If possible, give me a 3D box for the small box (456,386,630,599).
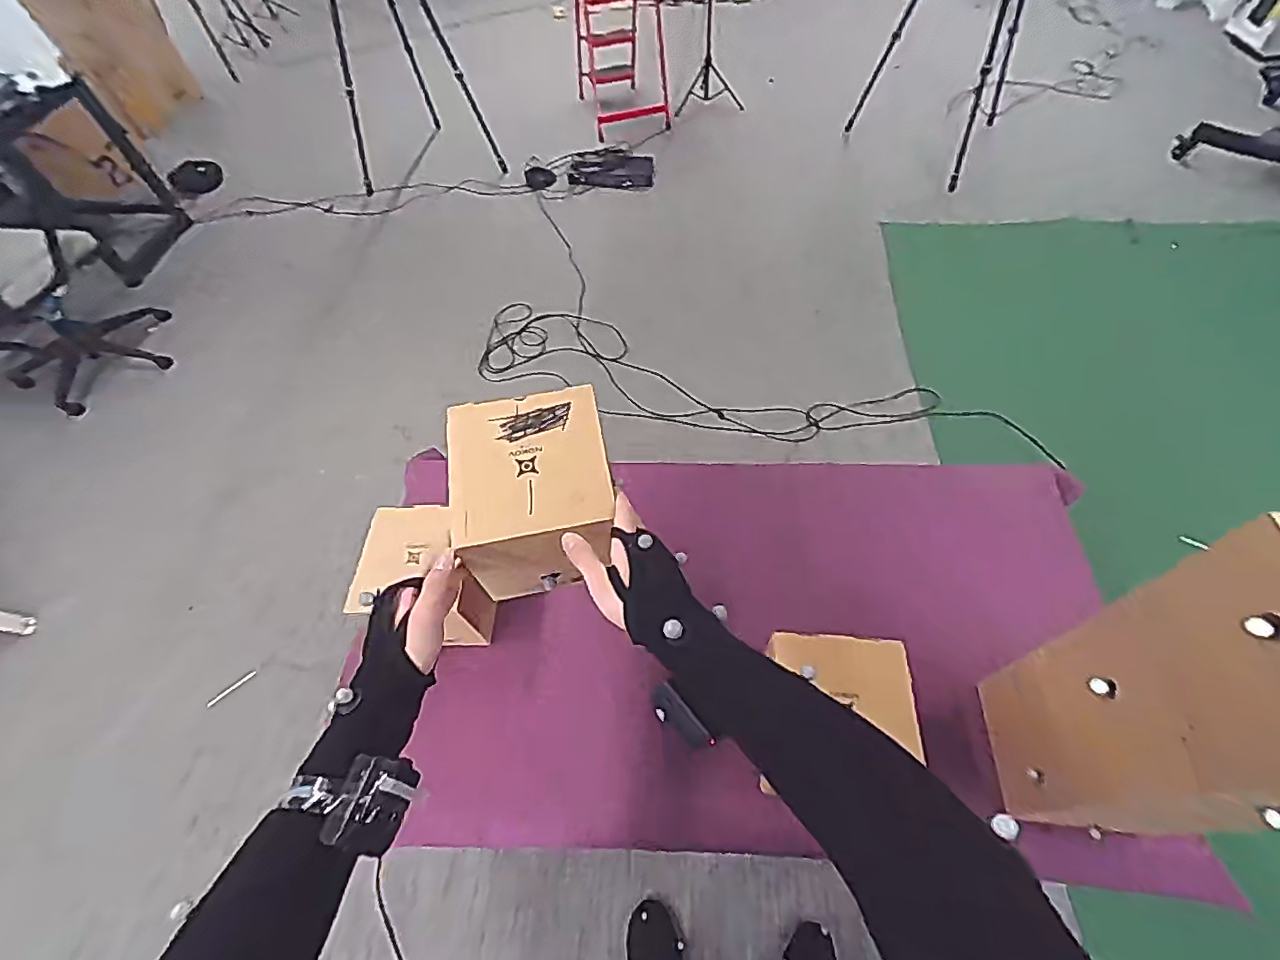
[{"bbox_3d":[-0.108,0.019,0.632,0.168,0.176,0.179,-11,61,-4],"label":"small box"}]

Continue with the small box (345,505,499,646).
[{"bbox_3d":[-0.332,0.156,0.872,0.168,0.176,0.179,-2,57,3],"label":"small box"}]

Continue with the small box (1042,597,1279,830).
[{"bbox_3d":[0.556,0.239,0.549,0.168,0.176,0.179,3,55,8],"label":"small box"}]

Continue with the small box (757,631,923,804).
[{"bbox_3d":[0.249,0.319,0.720,0.168,0.176,0.179,2,55,6],"label":"small box"}]
